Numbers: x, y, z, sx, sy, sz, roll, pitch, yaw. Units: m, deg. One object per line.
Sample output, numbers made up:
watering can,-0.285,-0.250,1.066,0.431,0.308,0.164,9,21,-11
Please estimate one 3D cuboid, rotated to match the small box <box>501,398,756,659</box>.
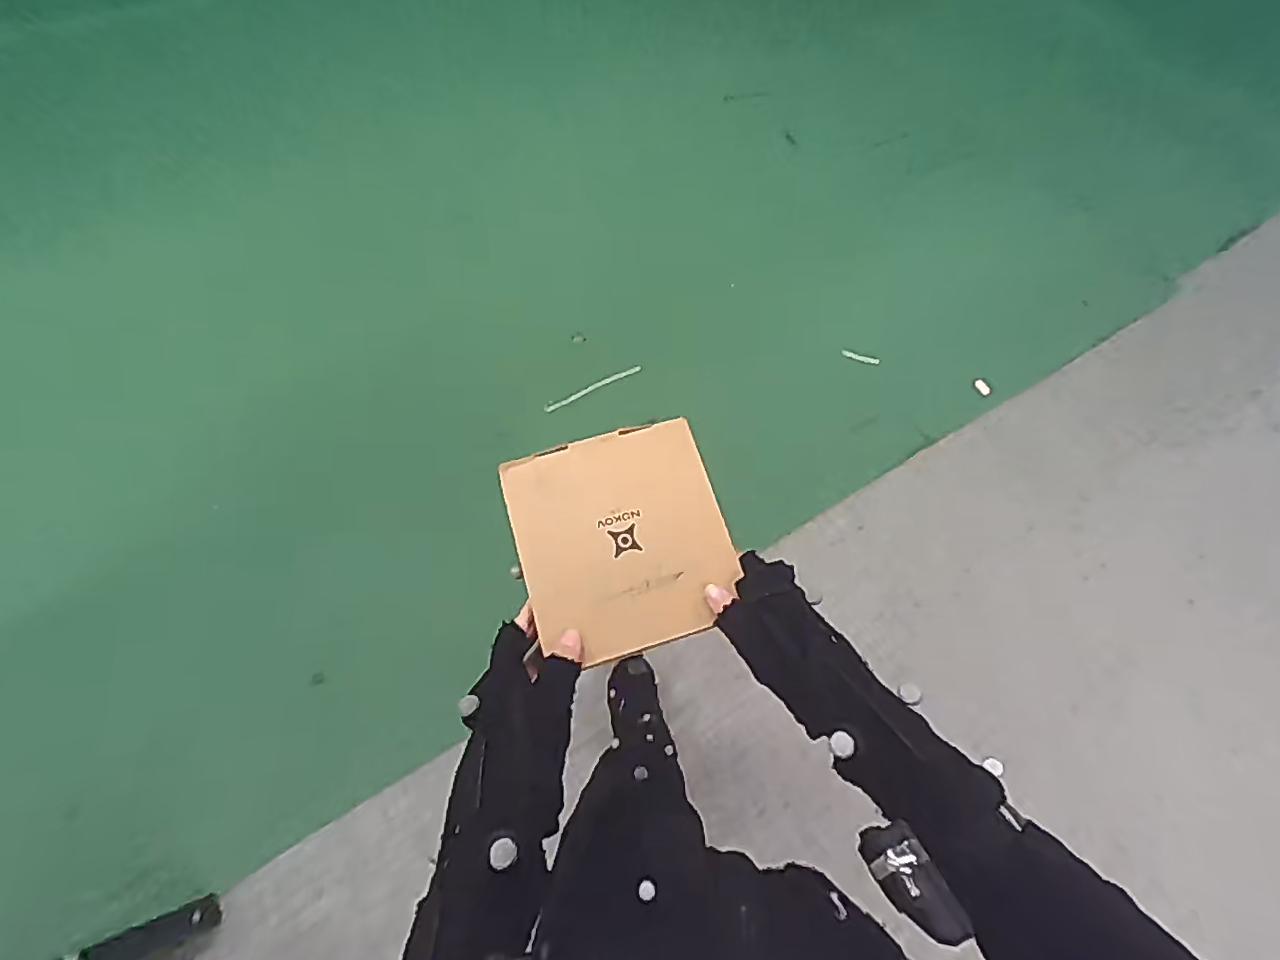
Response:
small box,-0.017,0.054,0.489,0.168,0.176,0.179,-14,72,-7
